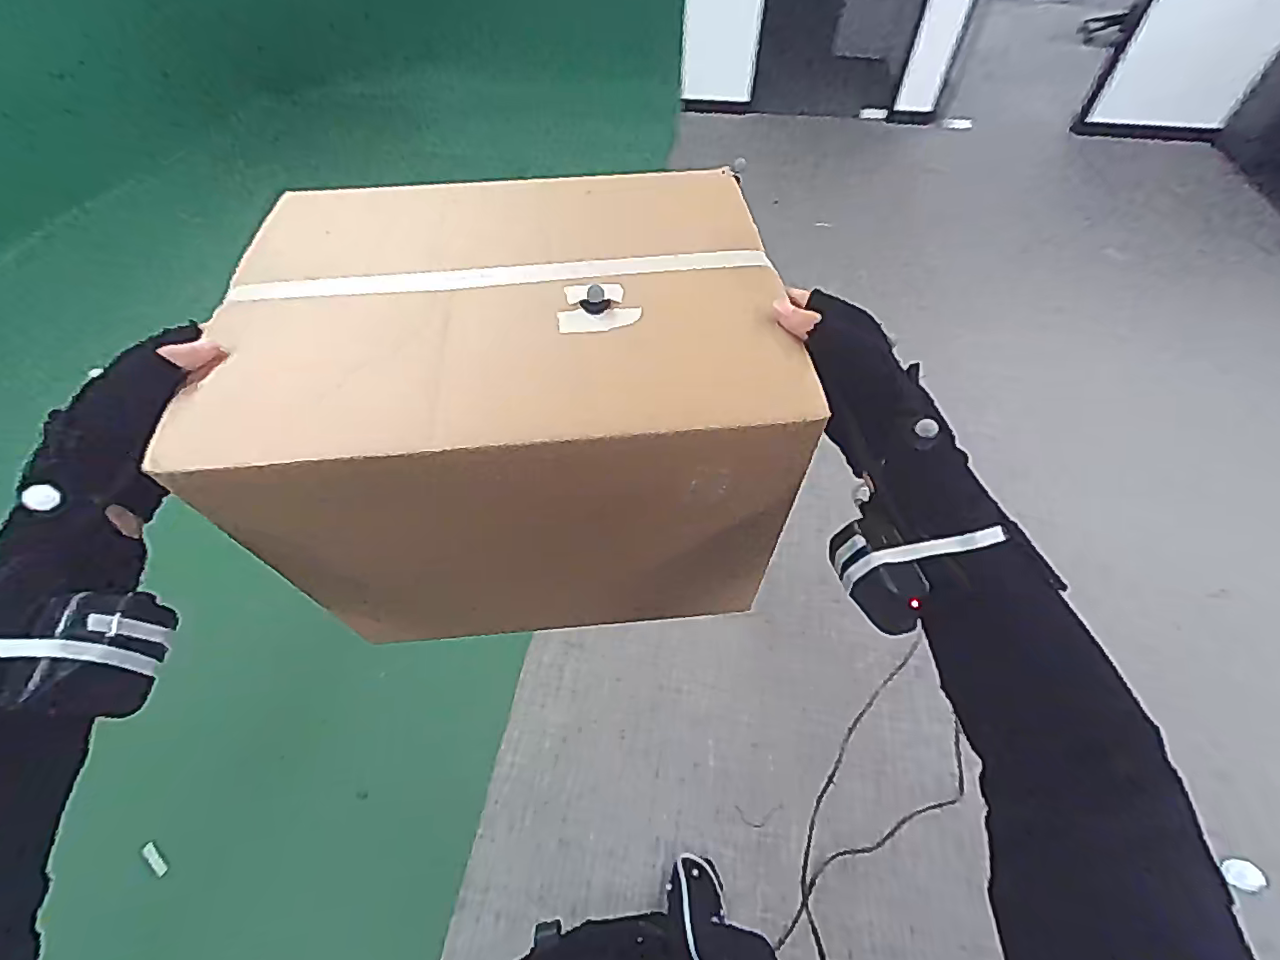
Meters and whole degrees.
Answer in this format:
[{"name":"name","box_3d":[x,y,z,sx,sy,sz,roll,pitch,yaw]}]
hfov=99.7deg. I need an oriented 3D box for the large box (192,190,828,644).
[{"name":"large box","box_3d":[-0.089,-0.052,0.541,0.408,0.320,0.320,-4,55,-3]}]
